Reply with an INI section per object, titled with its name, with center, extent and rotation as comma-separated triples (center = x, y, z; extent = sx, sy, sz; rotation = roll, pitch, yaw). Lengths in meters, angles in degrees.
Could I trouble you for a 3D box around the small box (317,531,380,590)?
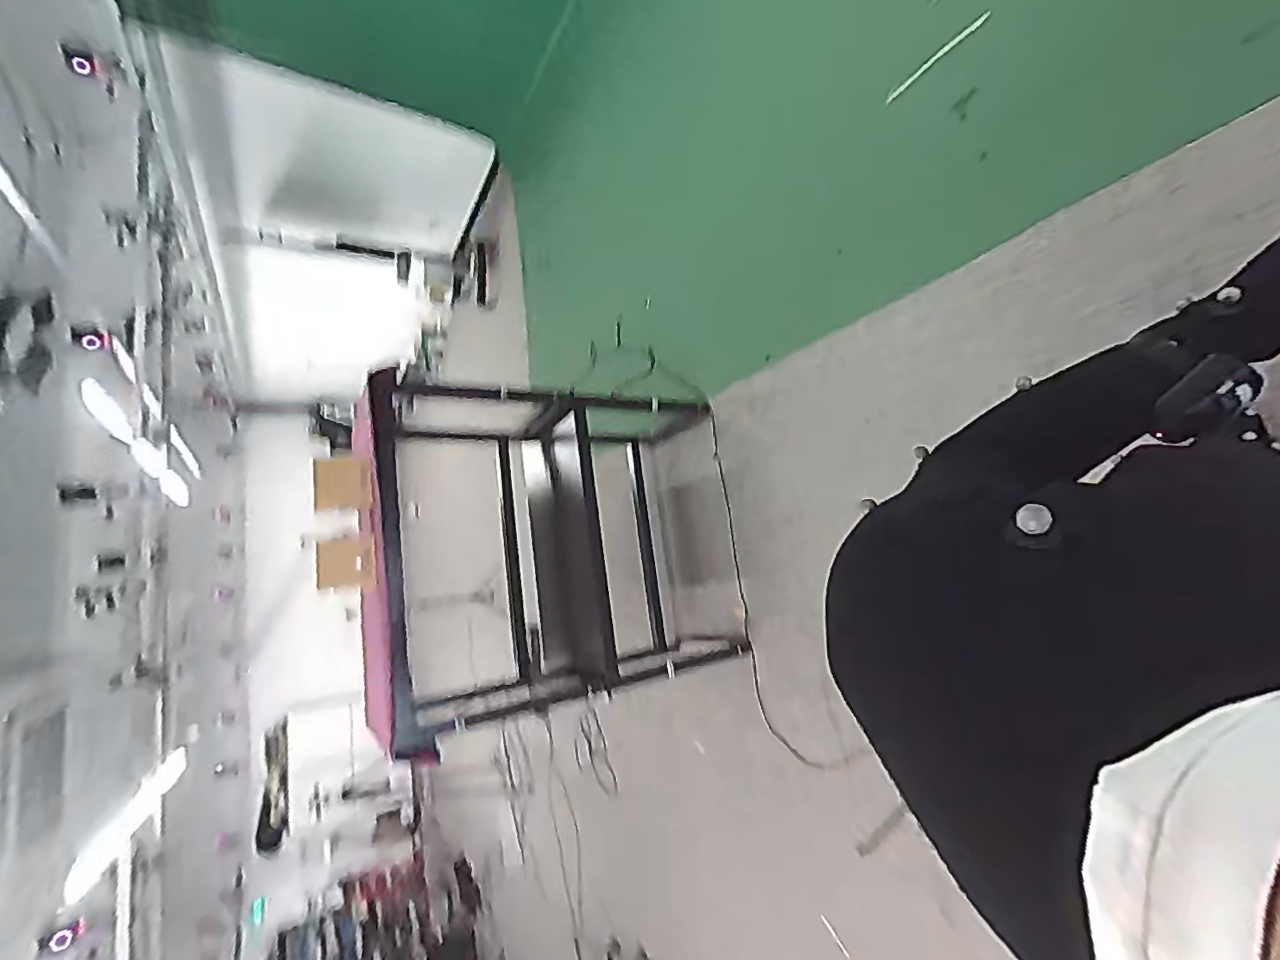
[small box]
center = -0.944, 0.262, 1.749
extent = 0.179, 0.176, 0.168
rotation = -22, 74, 56
